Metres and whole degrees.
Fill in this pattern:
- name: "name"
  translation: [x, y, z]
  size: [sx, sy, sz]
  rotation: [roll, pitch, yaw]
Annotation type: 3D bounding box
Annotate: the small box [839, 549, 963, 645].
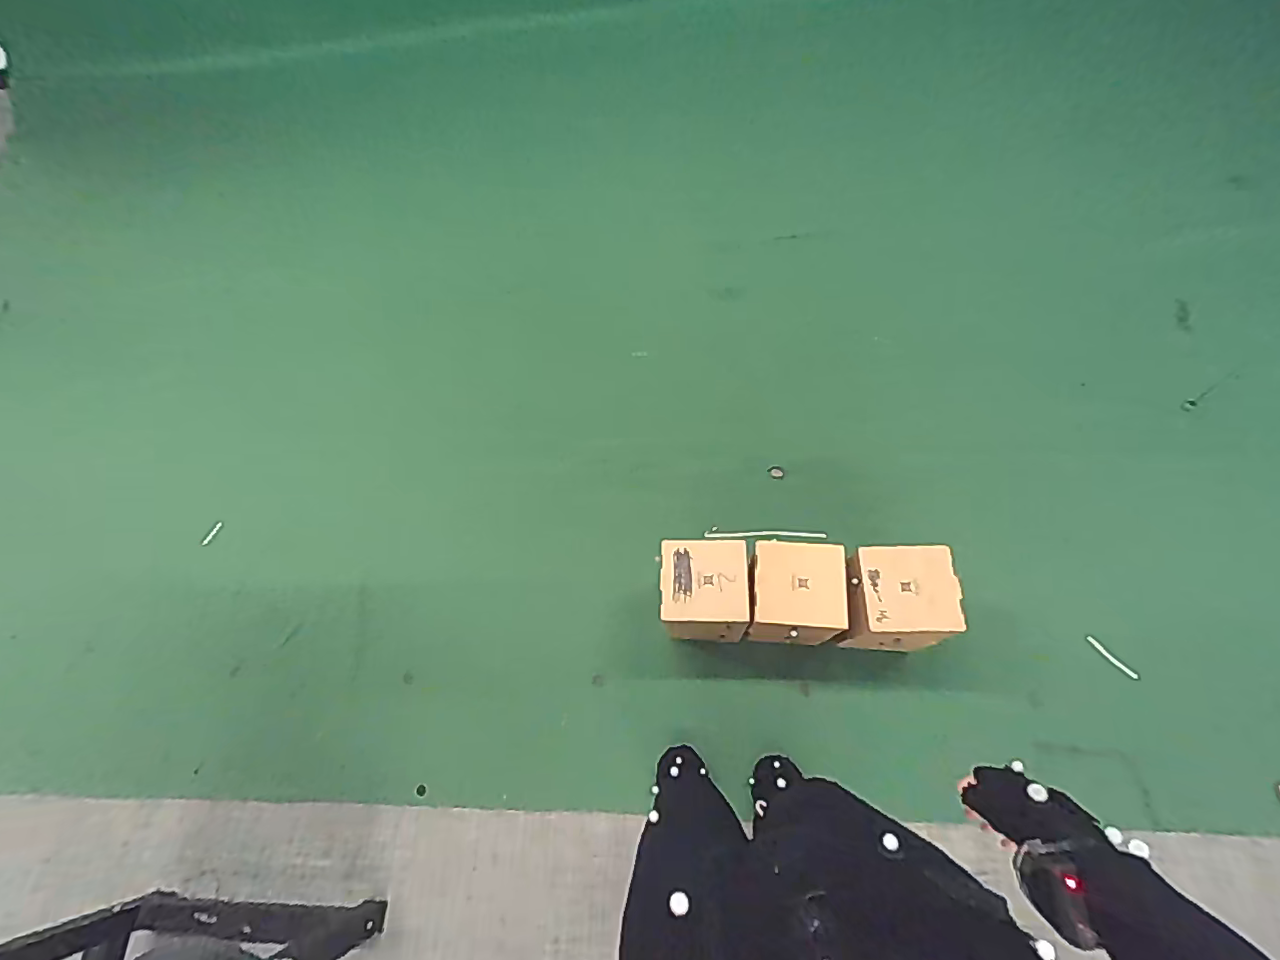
- name: "small box"
  translation: [0.524, 0.244, 1.111]
  size: [0.179, 0.176, 0.168]
  rotation: [-1, 67, 7]
